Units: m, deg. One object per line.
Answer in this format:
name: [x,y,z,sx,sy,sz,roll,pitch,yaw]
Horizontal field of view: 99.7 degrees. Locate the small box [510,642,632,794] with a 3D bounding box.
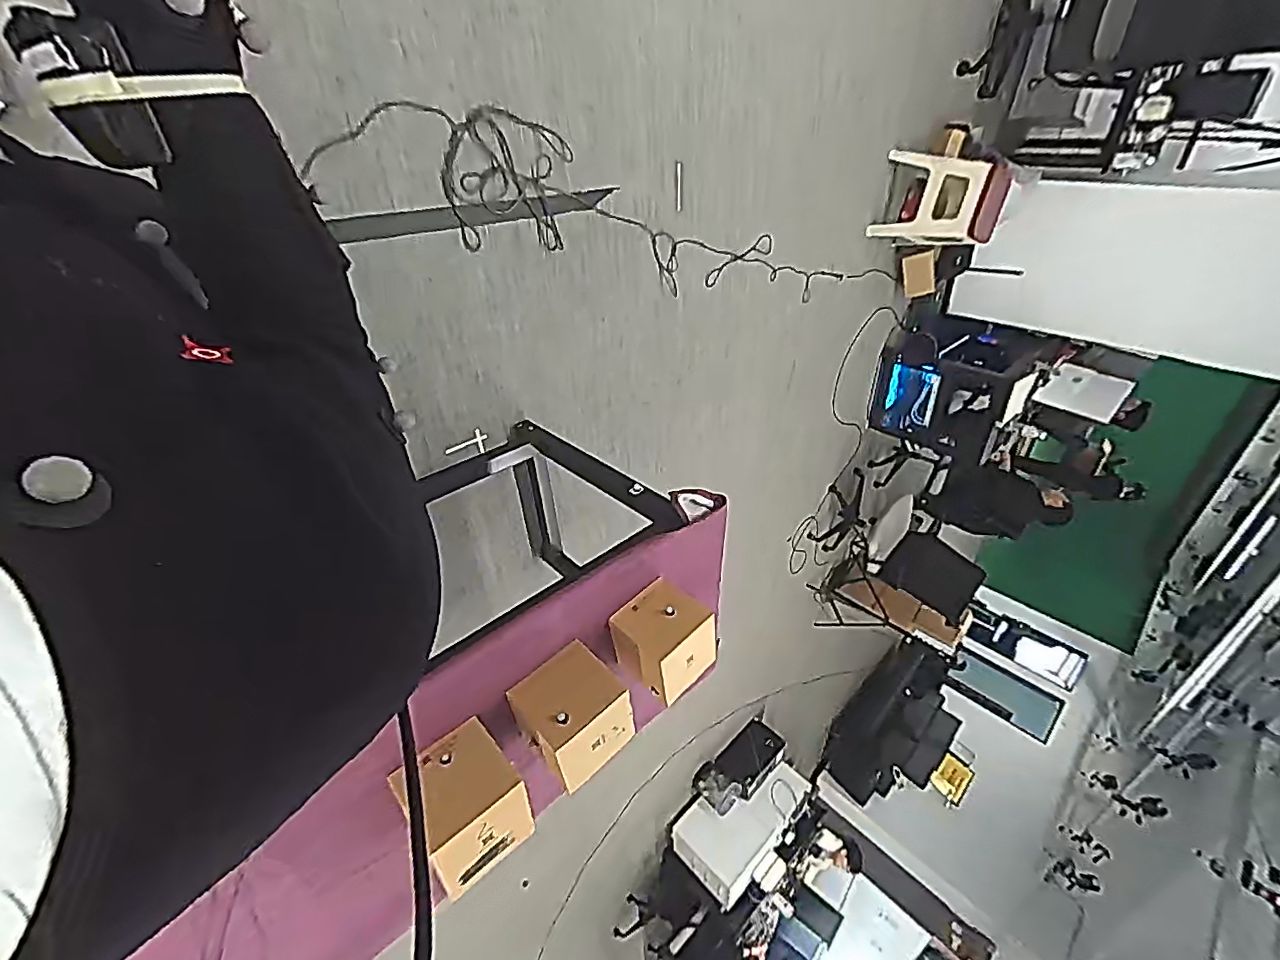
small box: [-0.140,0.462,1.071,0.179,0.176,0.168,-32,134,-31]

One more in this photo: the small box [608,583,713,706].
small box: [0.046,0.356,1.214,0.168,0.176,0.179,-34,135,-29]
